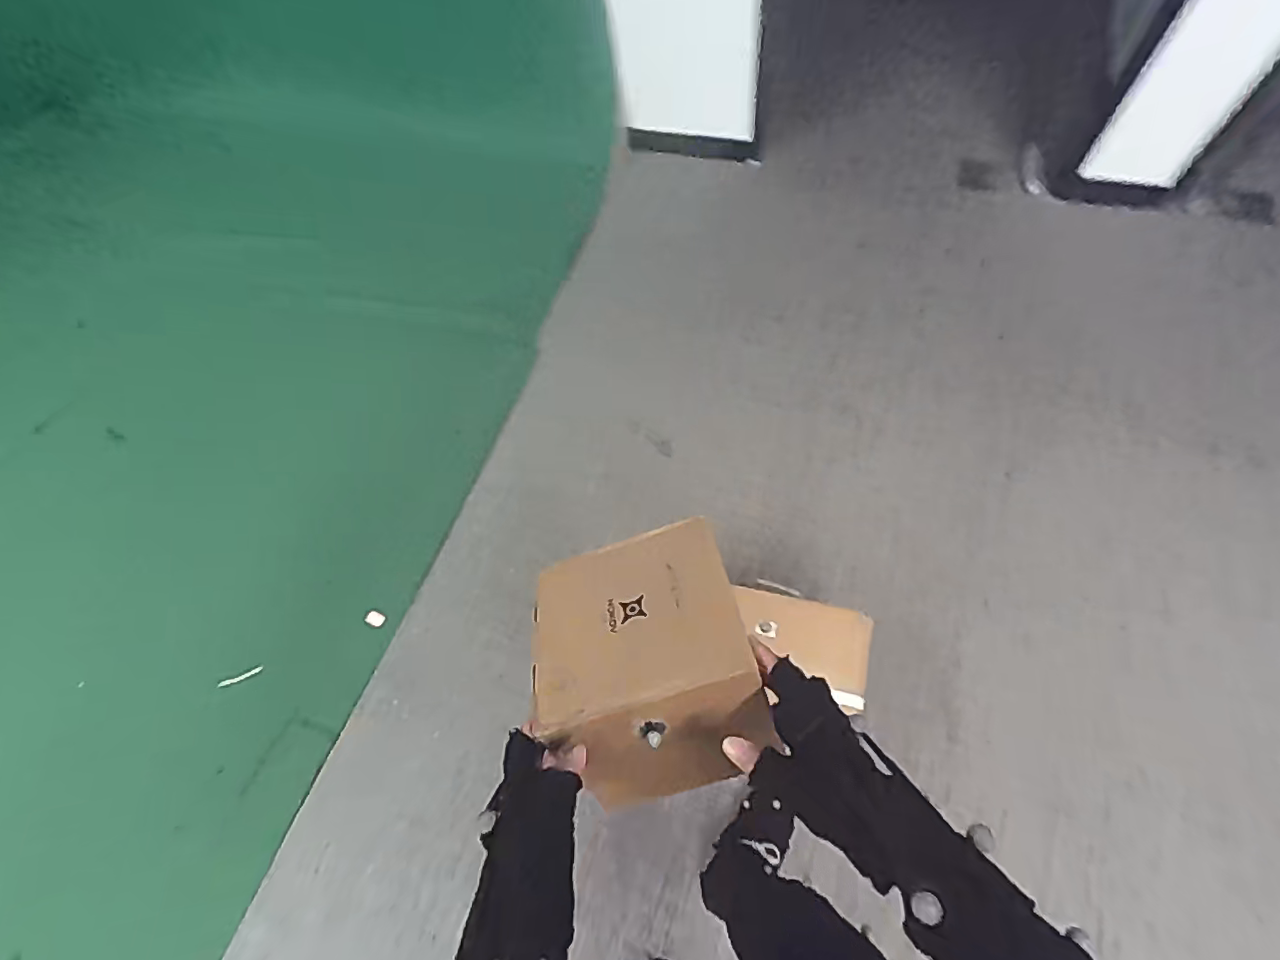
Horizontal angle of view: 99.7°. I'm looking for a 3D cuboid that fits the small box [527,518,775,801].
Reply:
[{"bbox_3d":[0.010,0.170,0.508,0.179,0.176,0.168,-18,38,3],"label":"small box"}]
